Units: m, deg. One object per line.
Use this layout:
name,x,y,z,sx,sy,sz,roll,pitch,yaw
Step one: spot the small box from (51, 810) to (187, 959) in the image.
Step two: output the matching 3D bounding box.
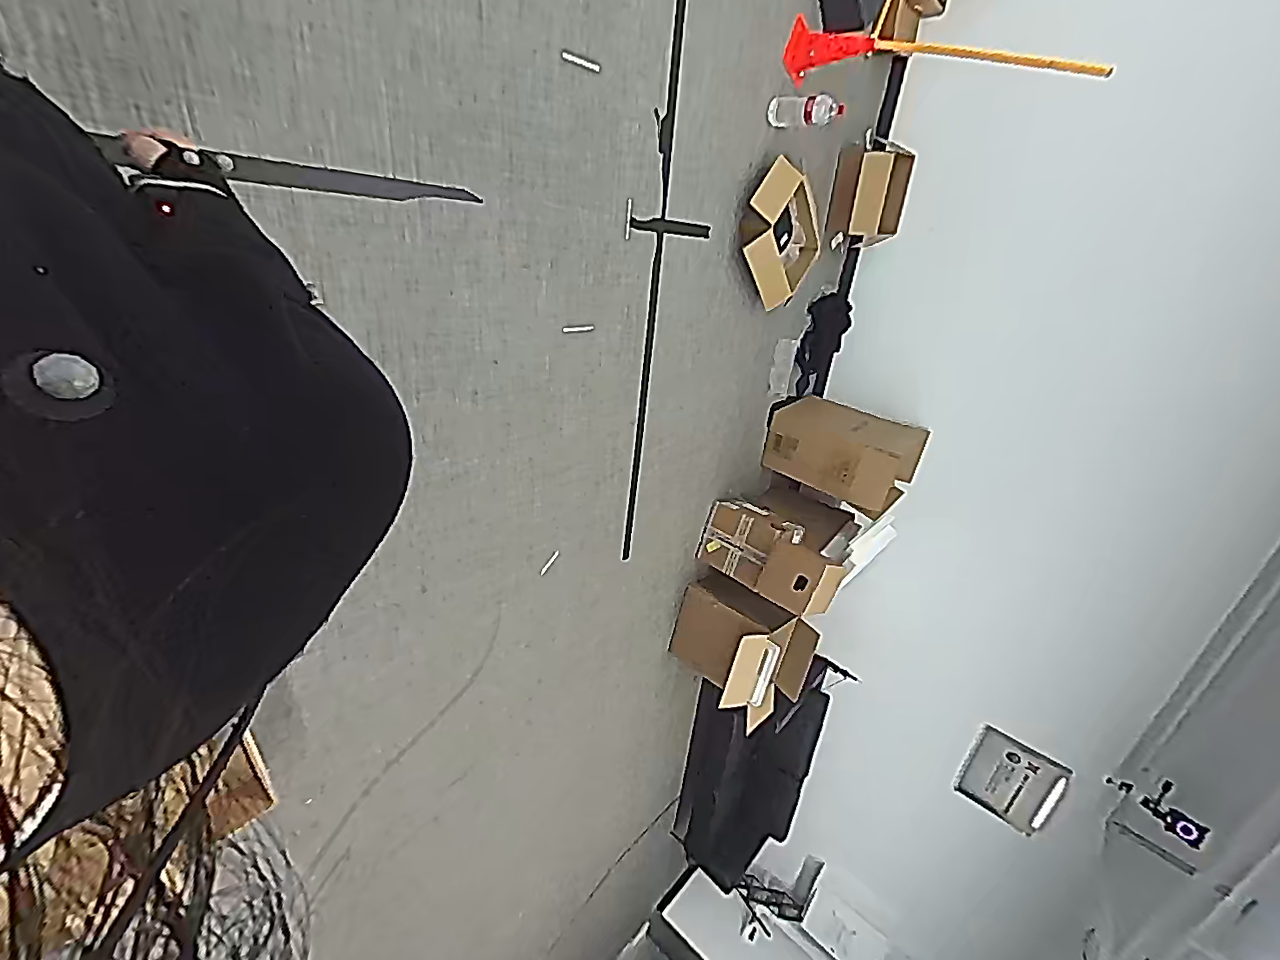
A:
small box,-1.157,0.889,1.205,0.168,0.176,0.179,-27,131,-43
